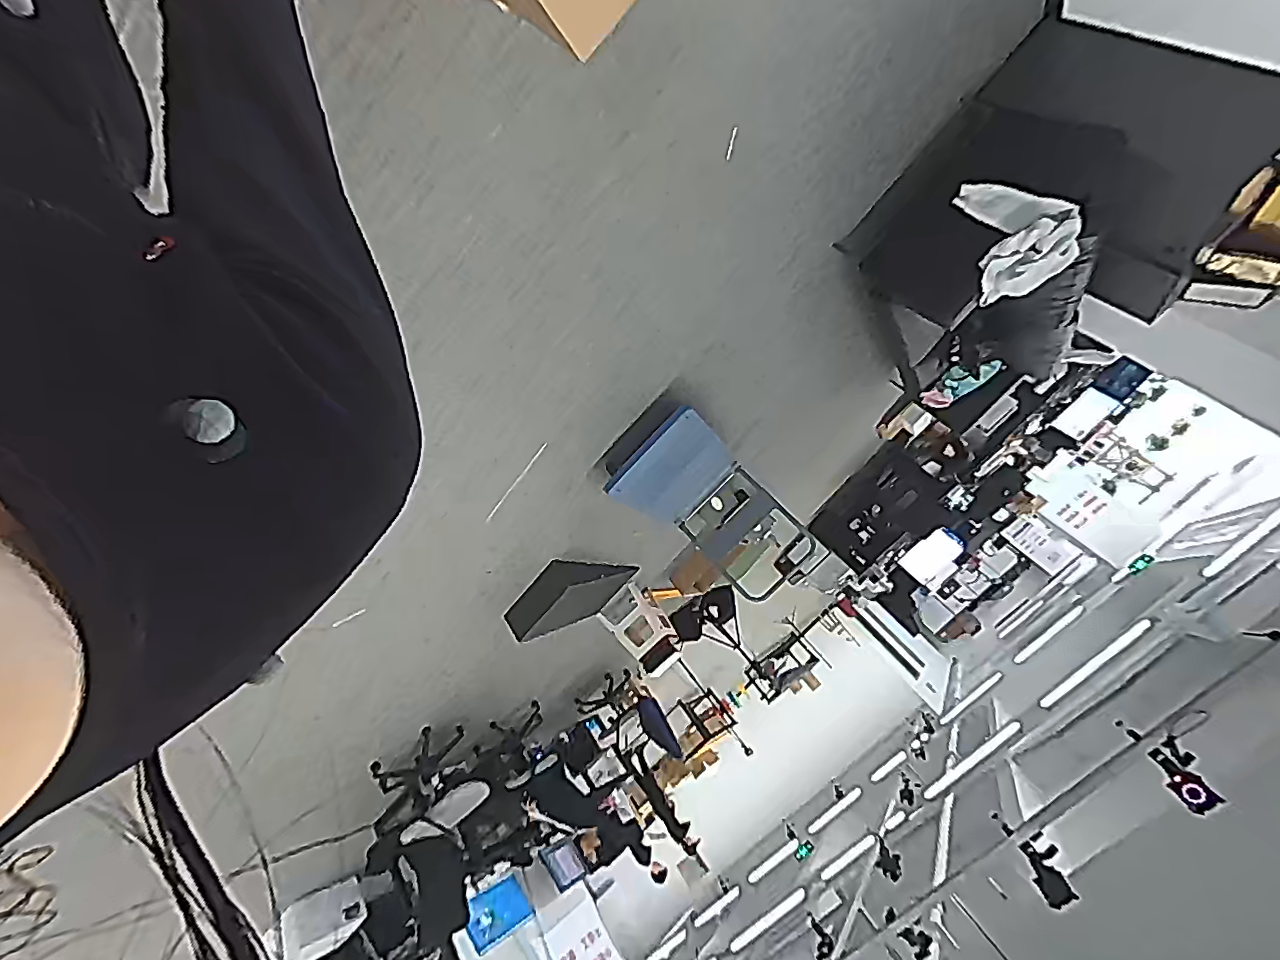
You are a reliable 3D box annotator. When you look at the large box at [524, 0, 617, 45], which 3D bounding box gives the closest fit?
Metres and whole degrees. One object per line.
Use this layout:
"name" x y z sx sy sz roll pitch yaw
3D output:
"large box" -0.160 -0.890 0.673 0.320 0.320 0.408 -44 151 15
